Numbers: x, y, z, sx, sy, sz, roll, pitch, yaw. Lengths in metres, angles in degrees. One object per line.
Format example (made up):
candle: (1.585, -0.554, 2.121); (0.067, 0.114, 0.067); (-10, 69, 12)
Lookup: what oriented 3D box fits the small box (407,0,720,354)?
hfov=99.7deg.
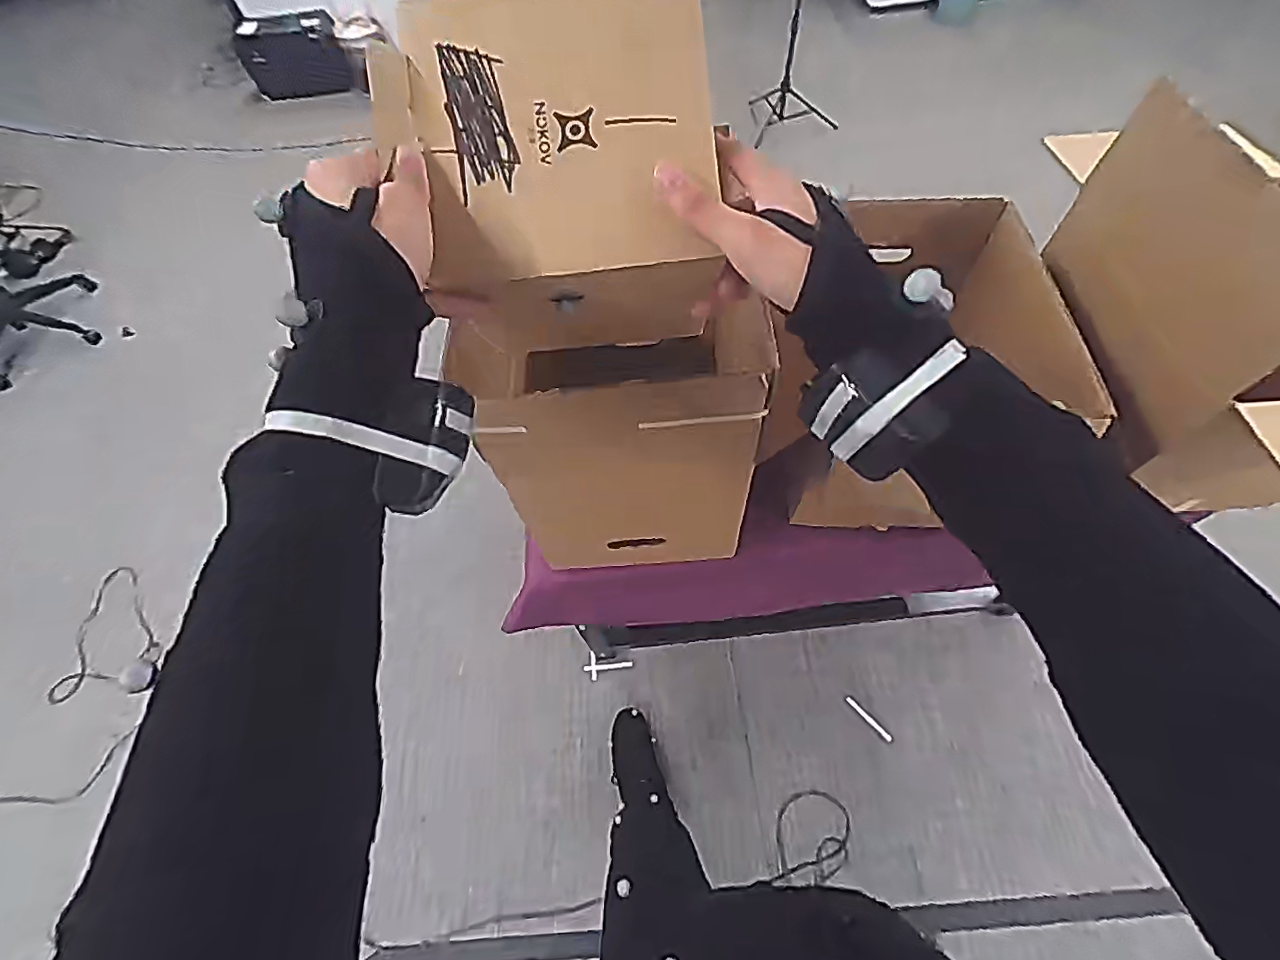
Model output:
small box: (-0.044, -0.198, 0.397); (0.179, 0.176, 0.168); (-6, 89, 0)
